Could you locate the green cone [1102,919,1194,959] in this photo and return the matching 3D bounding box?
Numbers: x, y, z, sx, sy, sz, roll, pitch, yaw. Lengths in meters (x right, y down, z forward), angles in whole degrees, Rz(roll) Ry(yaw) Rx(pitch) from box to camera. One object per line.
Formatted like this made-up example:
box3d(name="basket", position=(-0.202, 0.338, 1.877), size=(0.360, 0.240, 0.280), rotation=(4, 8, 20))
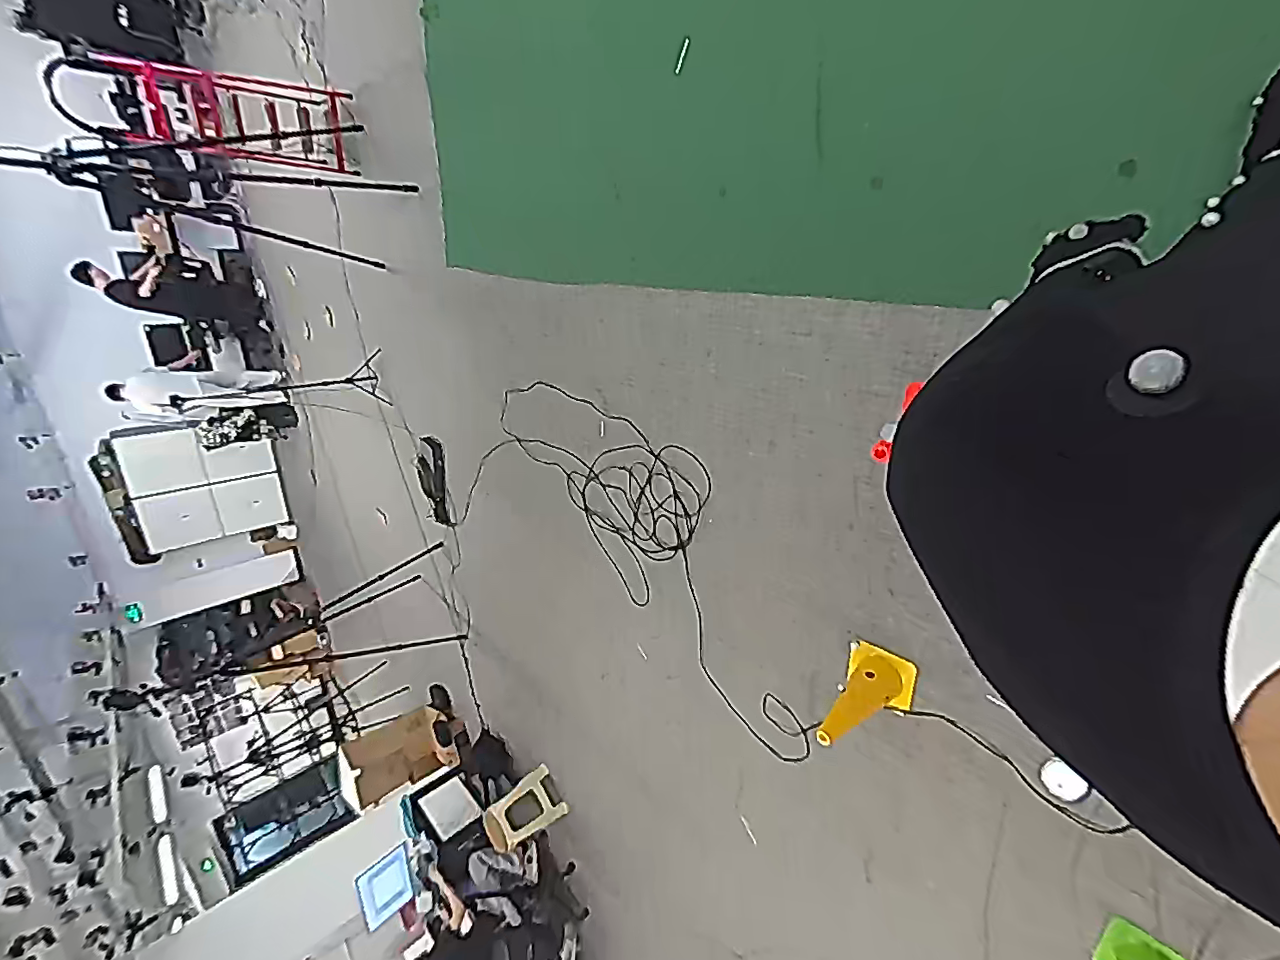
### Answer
box3d(name="green cone", position=(1.165, 1.259, 1.227), size=(0.202, 0.368, 0.200), rotation=(21, 119, 44))
